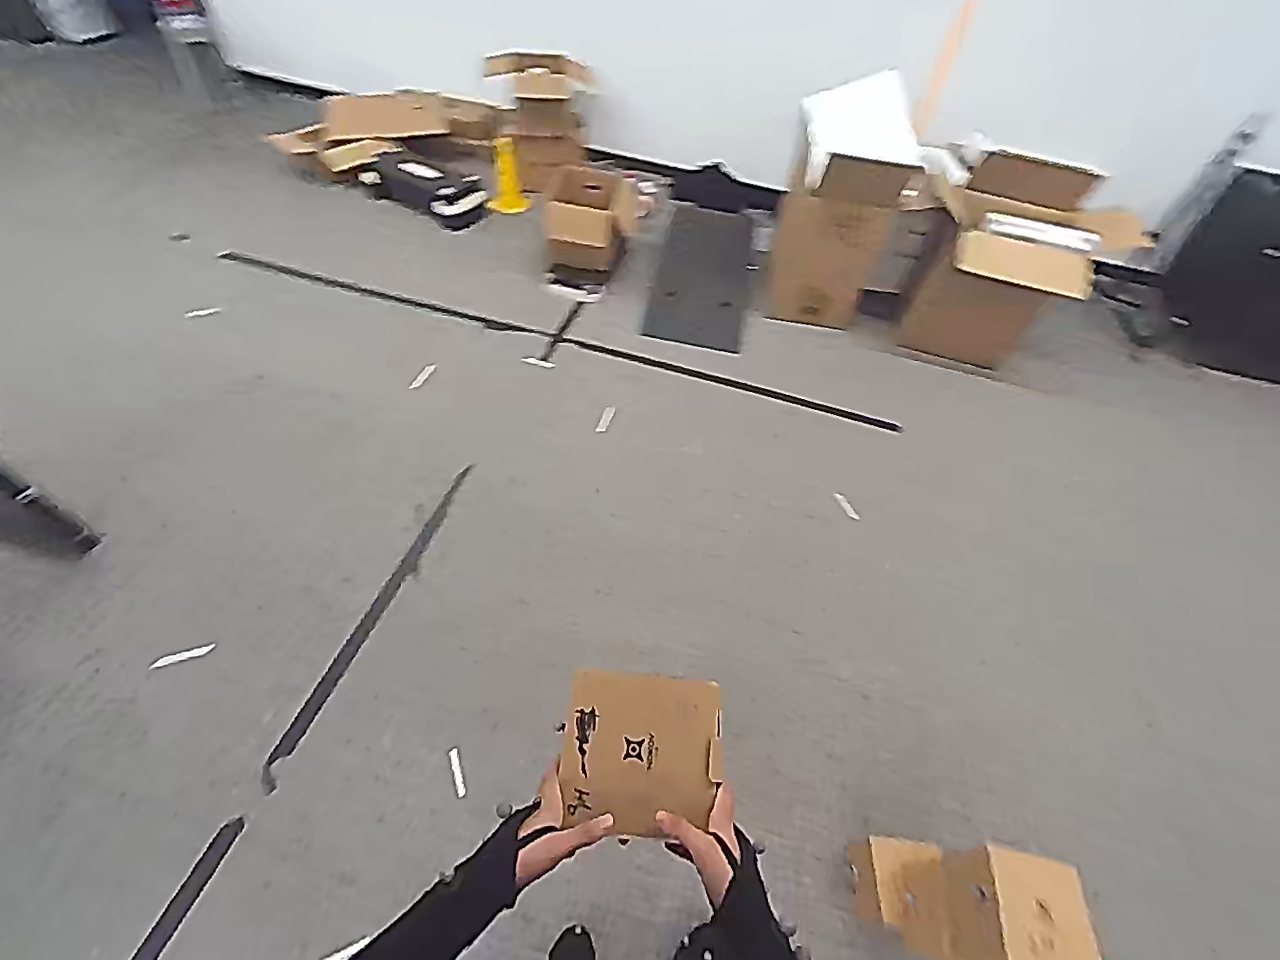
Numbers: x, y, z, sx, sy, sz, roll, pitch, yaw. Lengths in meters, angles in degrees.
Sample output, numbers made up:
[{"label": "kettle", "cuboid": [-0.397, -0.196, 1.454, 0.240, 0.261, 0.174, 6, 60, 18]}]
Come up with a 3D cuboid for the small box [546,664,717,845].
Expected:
[{"label": "small box", "cuboid": [-0.012, 0.328, 0.654, 0.179, 0.176, 0.168, 7, 61, -4]}]

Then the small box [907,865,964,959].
[{"label": "small box", "cuboid": [0.679, 0.919, 1.108, 0.179, 0.176, 0.168, 19, 51, 8]}]

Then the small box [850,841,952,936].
[{"label": "small box", "cuboid": [0.622, 0.965, 1.273, 0.179, 0.176, 0.168, 8, 51, 0]}]

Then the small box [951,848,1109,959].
[{"label": "small box", "cuboid": [0.700, 0.806, 0.989, 0.168, 0.176, 0.179, 14, 51, 3]}]
